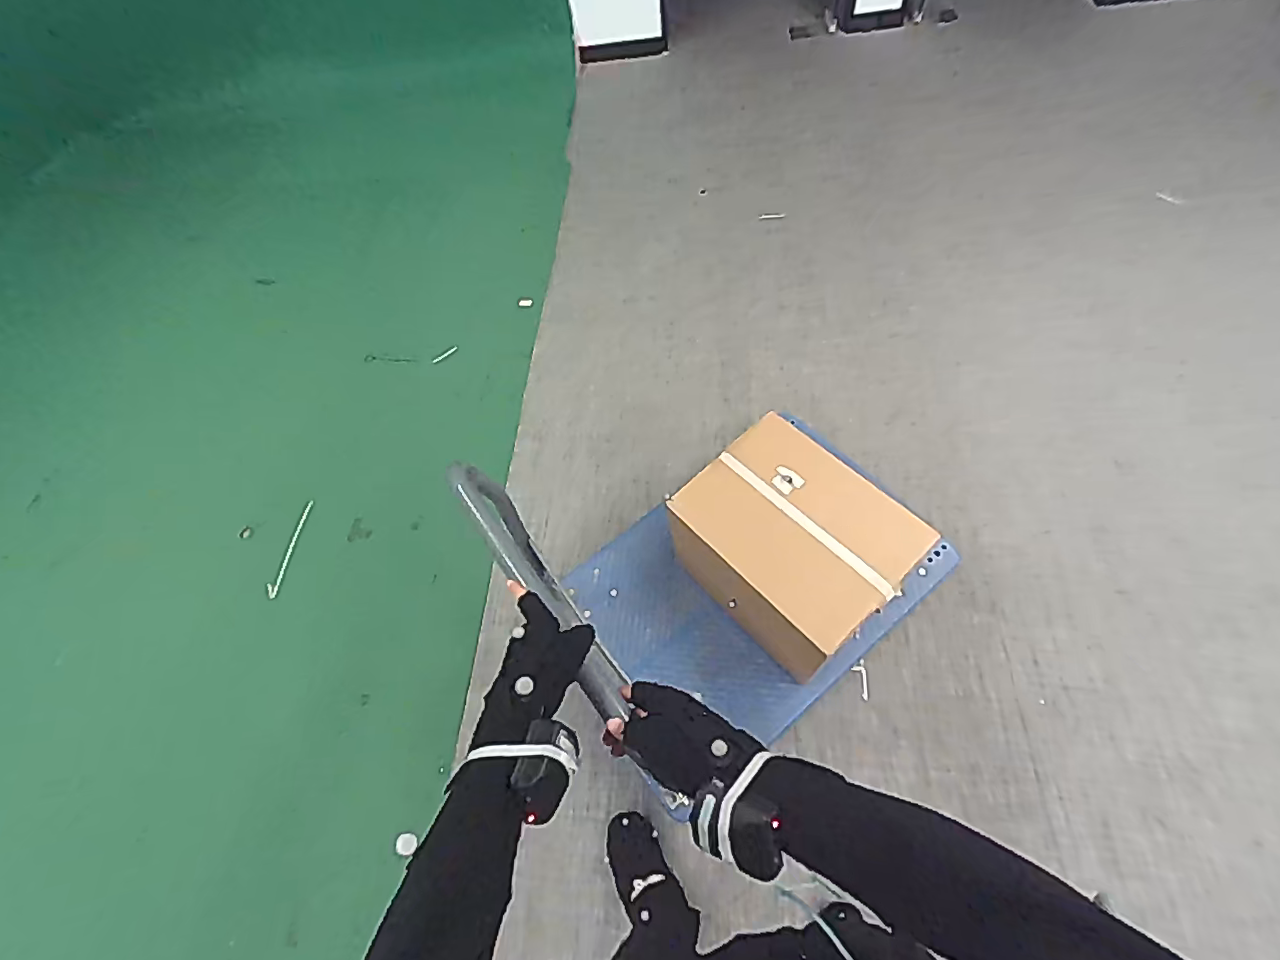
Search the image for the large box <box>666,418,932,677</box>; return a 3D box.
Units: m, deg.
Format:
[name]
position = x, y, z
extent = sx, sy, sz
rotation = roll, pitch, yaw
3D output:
[large box]
position = 0.316, 0.149, 1.164
extent = 0.320, 0.320, 0.408
rotation = -40, 62, -14
